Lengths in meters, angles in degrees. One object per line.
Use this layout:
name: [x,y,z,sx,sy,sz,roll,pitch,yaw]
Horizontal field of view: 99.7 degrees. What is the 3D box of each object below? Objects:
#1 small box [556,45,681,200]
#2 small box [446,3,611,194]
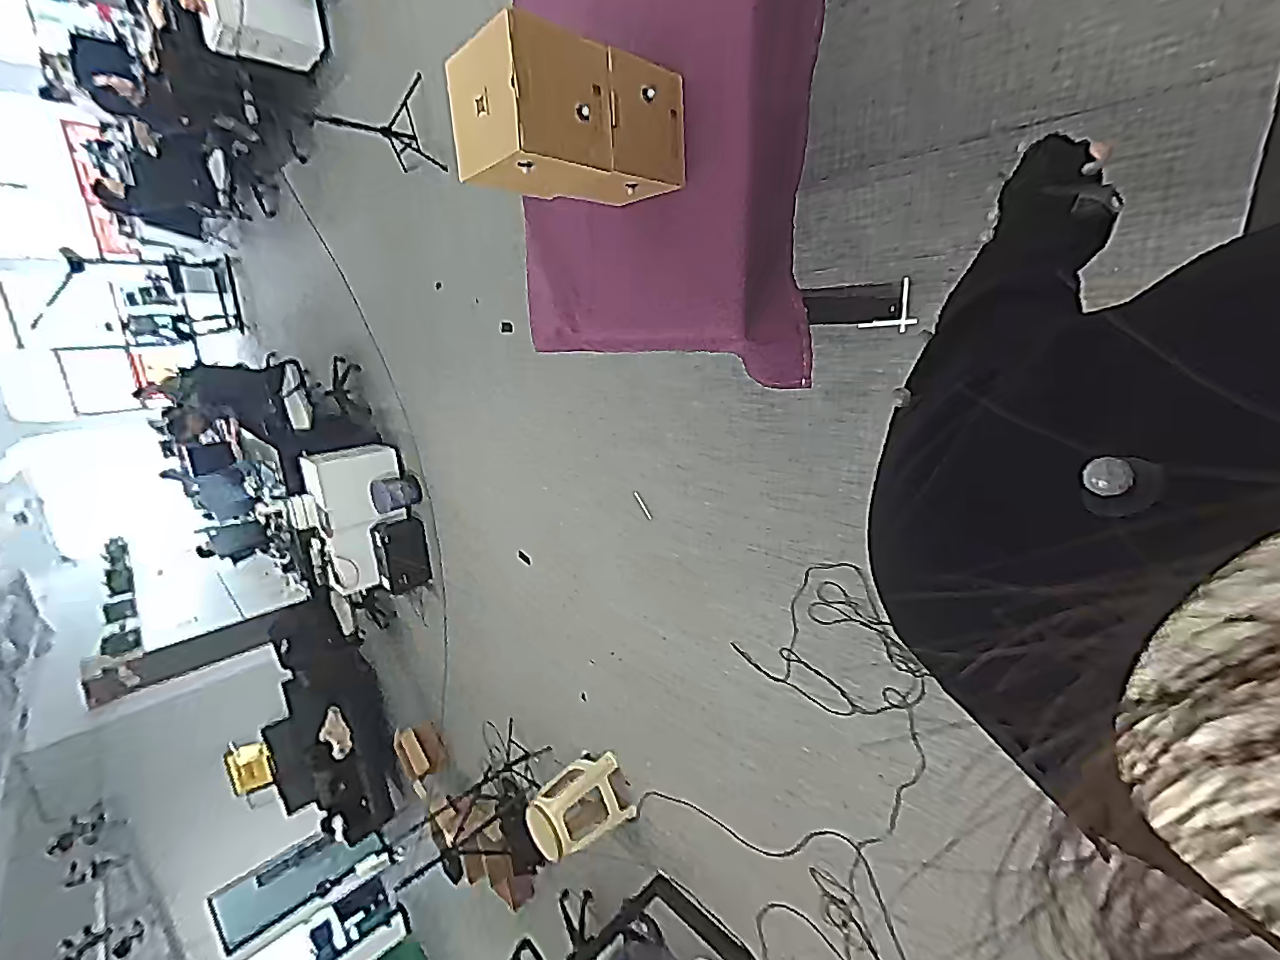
small box: [-0.044,-0.583,0.909,0.179,0.176,0.168,14,112,44]
small box: [-0.164,-0.544,0.806,0.179,0.176,0.168,10,109,44]
